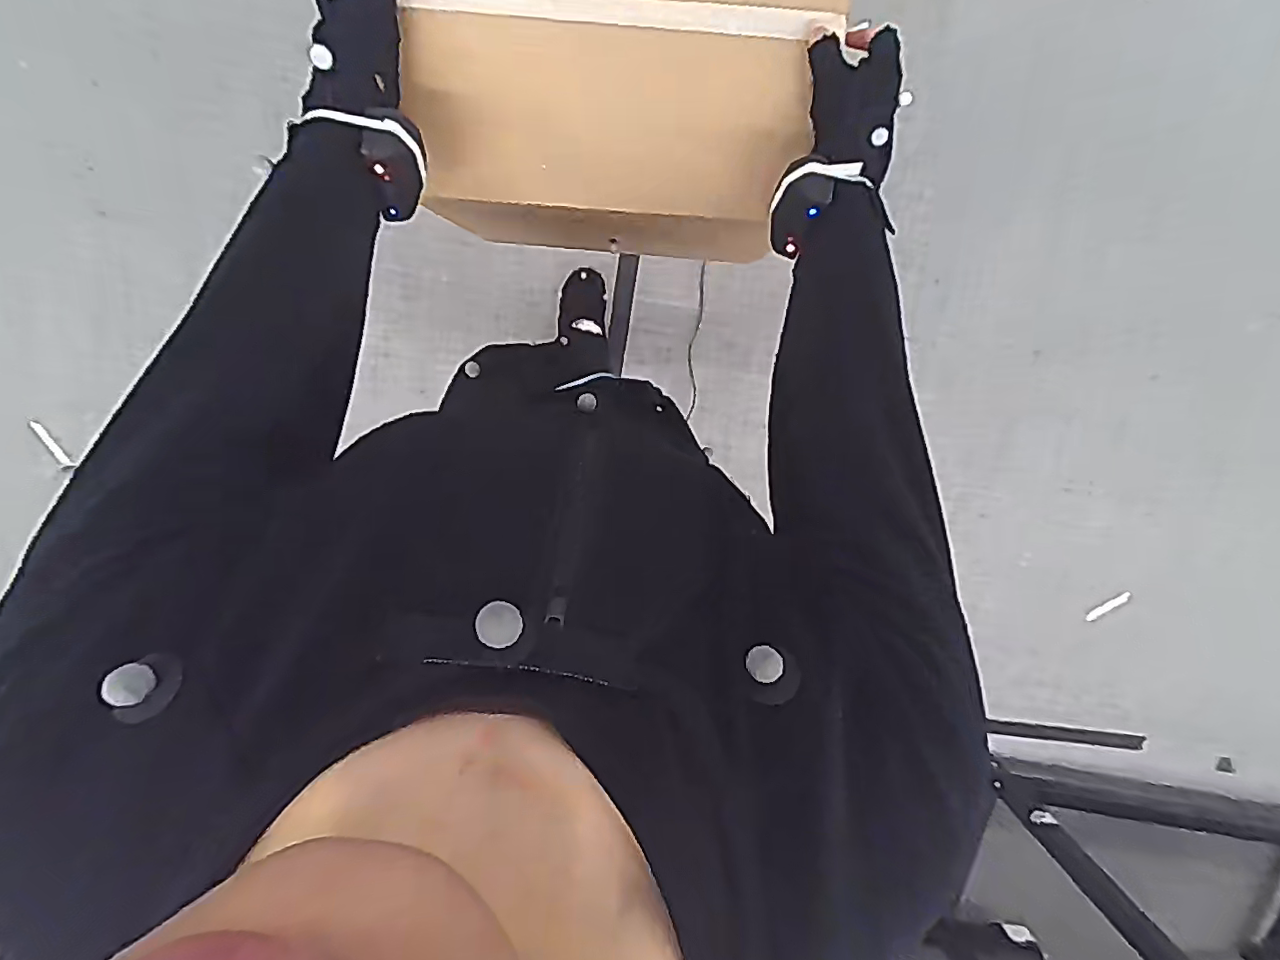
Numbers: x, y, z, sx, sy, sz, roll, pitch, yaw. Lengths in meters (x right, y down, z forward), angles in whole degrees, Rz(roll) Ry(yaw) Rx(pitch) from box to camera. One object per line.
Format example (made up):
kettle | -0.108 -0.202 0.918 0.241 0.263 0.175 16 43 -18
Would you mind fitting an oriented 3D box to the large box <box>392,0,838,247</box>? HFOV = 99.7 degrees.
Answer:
large box | -0.021 -0.461 0.624 0.408 0.320 0.320 4 105 -1
